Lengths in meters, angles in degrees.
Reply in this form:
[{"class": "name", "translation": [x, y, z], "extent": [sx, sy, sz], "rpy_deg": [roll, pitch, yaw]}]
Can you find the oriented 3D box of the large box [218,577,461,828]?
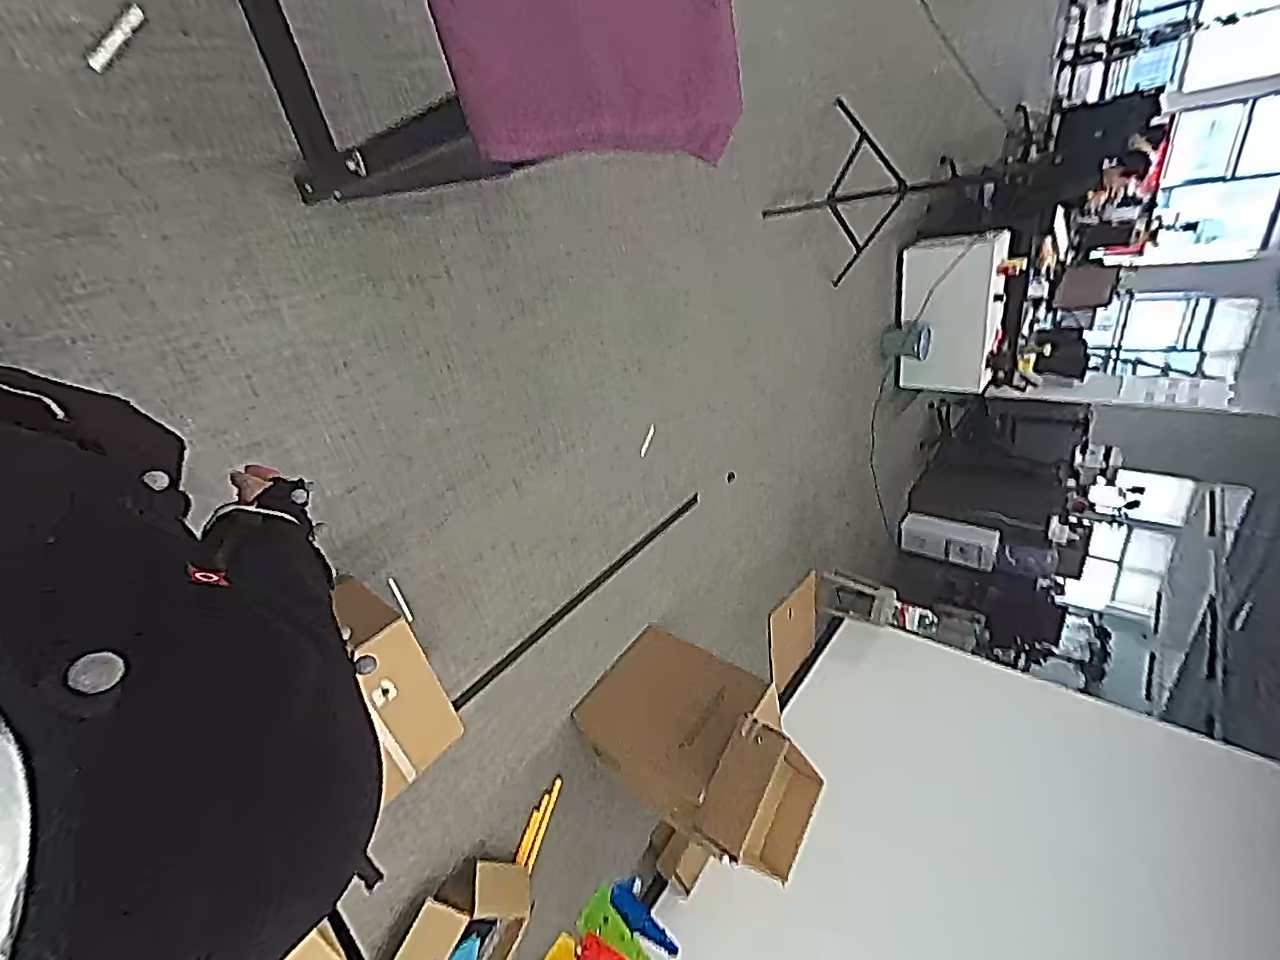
[{"class": "large box", "translation": [-0.703, 0.512, 1.294], "extent": [0.320, 0.320, 0.408], "rpy_deg": [-38, 126, -37]}]
